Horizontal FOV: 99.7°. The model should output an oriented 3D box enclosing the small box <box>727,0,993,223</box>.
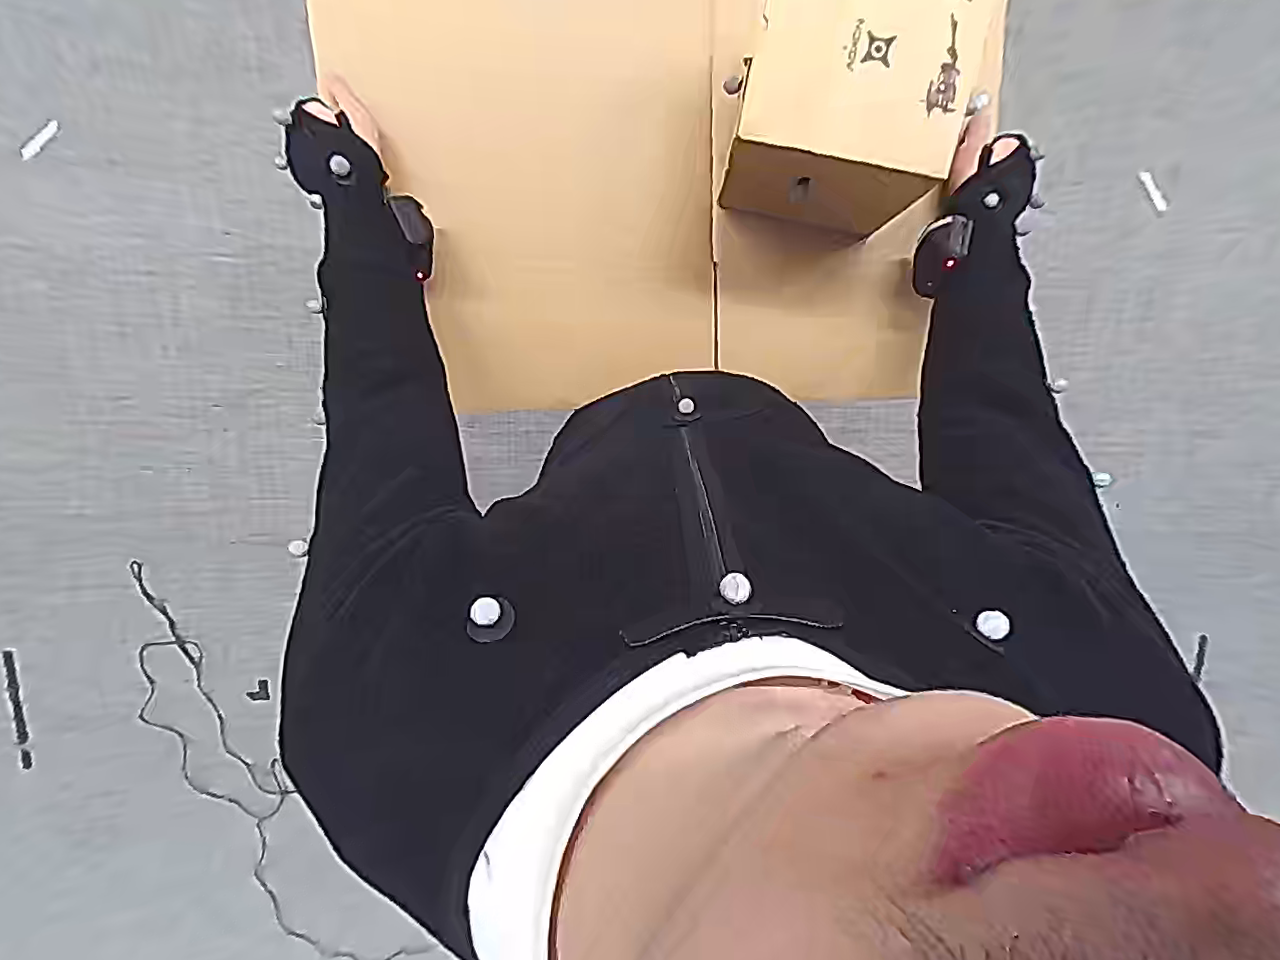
[{"bbox_3d":[0.185,-0.359,0.504,0.179,0.176,0.168,12,101,2],"label":"small box"}]
